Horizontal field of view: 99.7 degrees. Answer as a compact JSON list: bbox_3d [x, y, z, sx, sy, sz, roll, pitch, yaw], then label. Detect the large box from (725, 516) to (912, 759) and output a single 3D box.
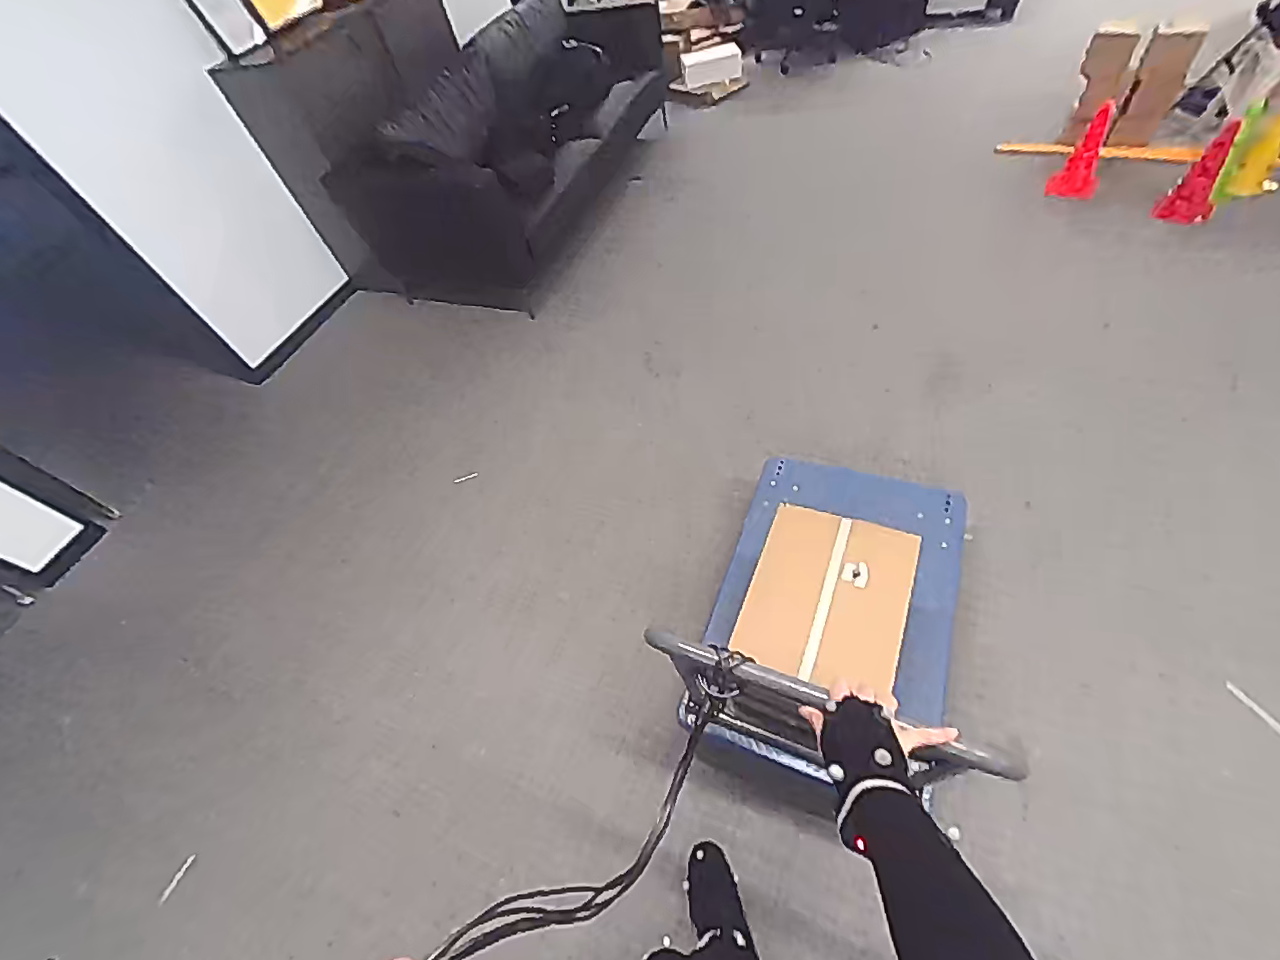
[{"bbox_3d":[0.413,0.361,1.263,0.320,0.320,0.408,15,56,22],"label":"large box"}]
